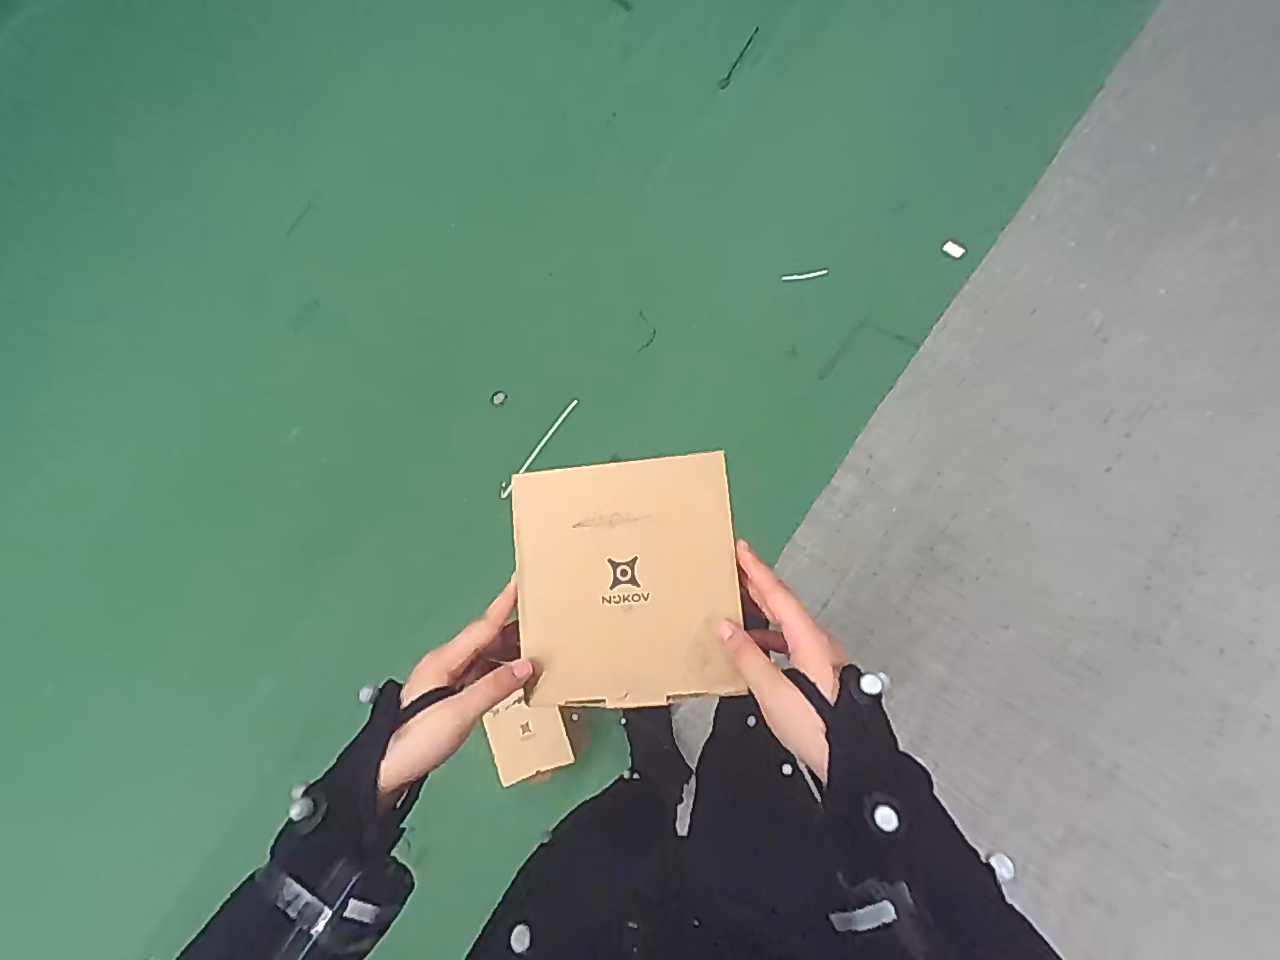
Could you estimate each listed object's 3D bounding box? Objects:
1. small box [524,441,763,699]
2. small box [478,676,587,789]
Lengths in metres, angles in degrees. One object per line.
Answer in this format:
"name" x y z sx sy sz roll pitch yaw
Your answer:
"small box" 0.008 0.075 0.473 0.168 0.176 0.179 -7 81 5
"small box" -0.229 0.539 1.195 0.168 0.176 0.179 -21 79 2
